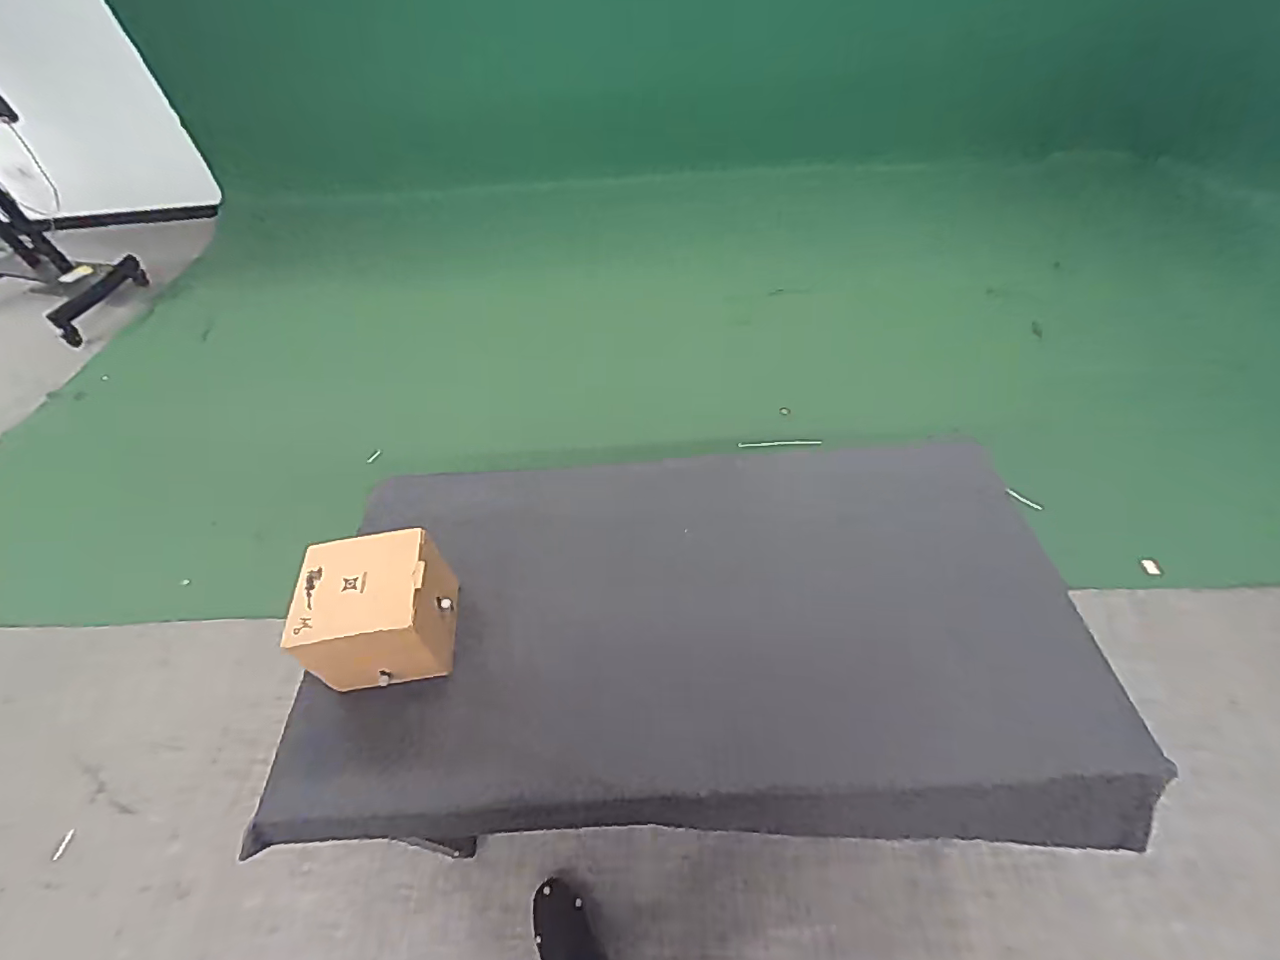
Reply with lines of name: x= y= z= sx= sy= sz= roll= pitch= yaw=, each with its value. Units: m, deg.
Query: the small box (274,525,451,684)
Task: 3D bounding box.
small box: x=-0.396 y=0.190 z=0.813 sx=0.179 sy=0.176 sz=0.168 roll=-8 pitch=51 yaw=-5
